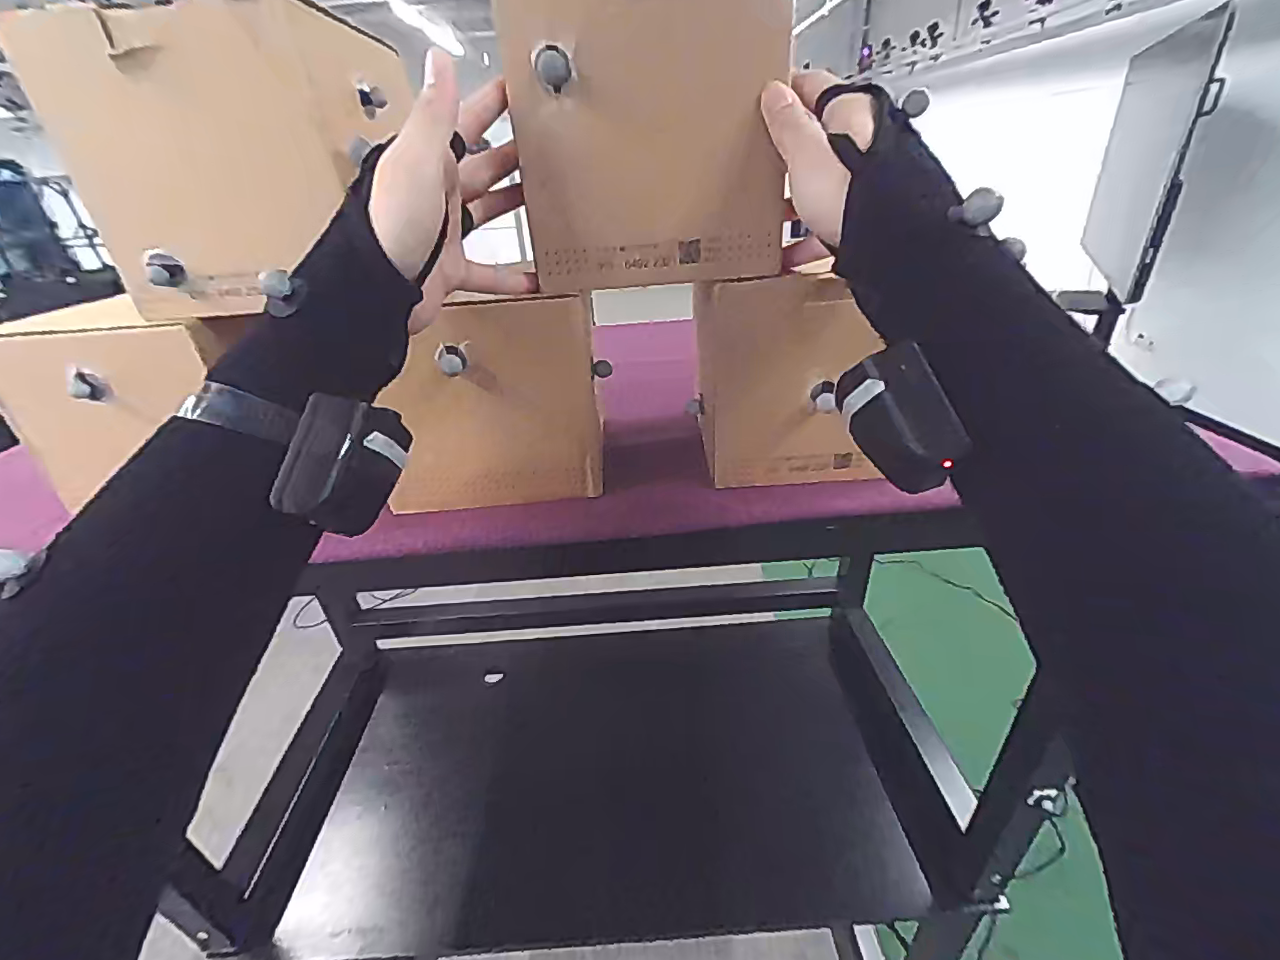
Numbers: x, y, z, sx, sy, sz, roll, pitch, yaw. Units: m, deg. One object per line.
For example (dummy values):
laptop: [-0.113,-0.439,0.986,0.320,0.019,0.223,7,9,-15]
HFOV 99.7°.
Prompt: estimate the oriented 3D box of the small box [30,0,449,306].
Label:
small box: [-0.265,-0.235,0.419,0.168,0.176,0.179,-4,29,1]

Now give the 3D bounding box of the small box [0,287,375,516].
small box: [-0.380,-0.078,0.491,0.179,0.176,0.168,-1,30,4]
